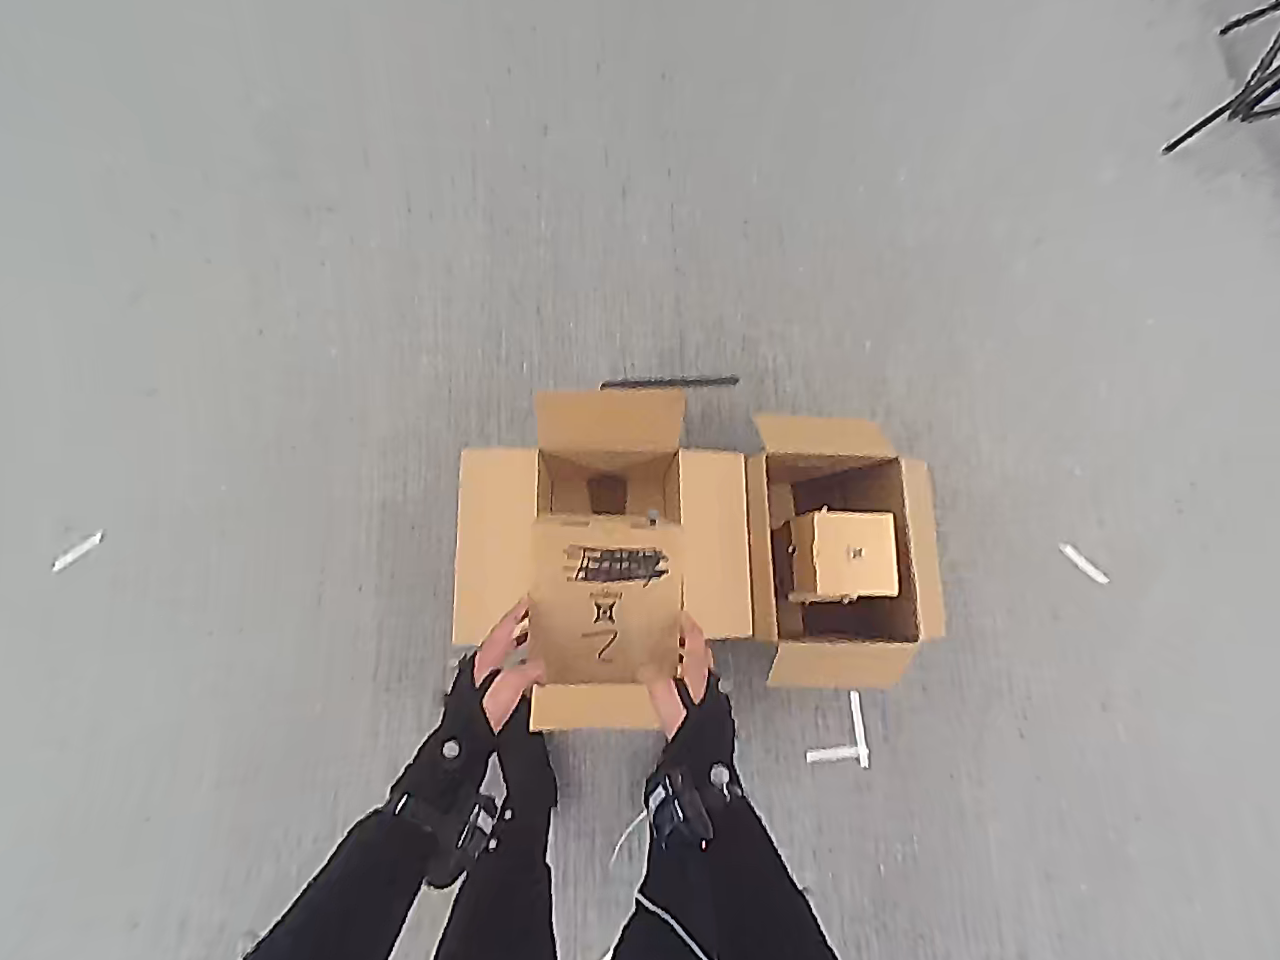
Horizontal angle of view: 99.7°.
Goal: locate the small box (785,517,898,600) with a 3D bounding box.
[{"bbox_3d":[0.432,0.172,1.177,0.179,0.176,0.168,1,80,-4],"label":"small box"}]
